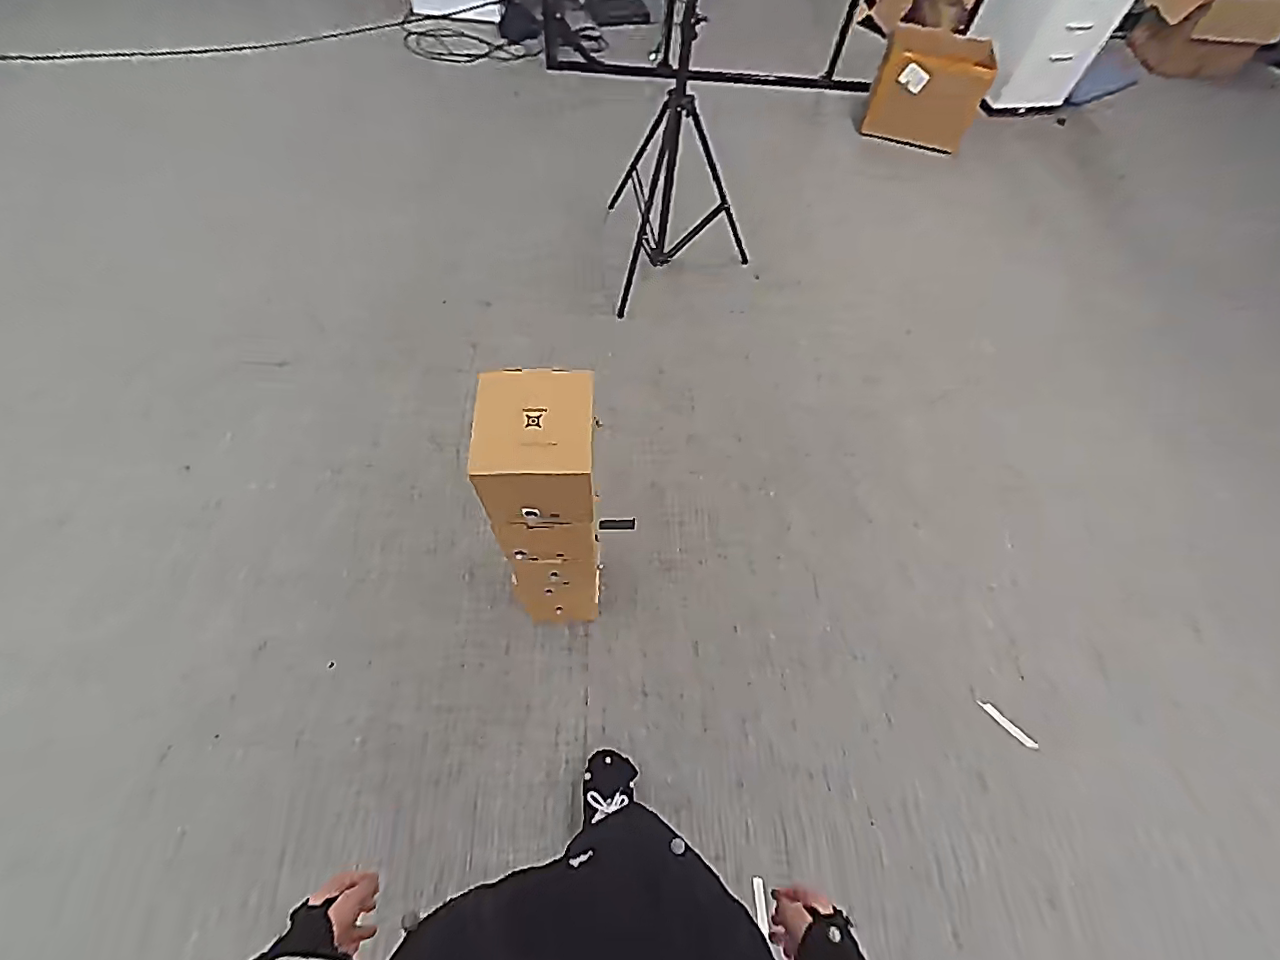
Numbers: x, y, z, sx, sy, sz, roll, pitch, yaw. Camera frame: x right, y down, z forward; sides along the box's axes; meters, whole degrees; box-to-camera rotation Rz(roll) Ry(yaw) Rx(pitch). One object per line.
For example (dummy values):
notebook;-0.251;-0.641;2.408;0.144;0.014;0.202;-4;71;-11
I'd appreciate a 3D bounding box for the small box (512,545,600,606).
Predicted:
small box;-0.186;0.190;1.246;0.179;0.176;0.168;3;63;-3

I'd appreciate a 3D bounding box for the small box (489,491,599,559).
small box;-0.159;0.033;0.960;0.168;0.176;0.179;1;61;-3

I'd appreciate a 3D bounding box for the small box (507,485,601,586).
small box;-0.167;0.112;1.104;0.168;0.176;0.179;2;63;-3

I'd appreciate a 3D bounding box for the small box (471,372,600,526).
small box;-0.146;-0.042;0.817;0.168;0.176;0.179;-1;63;-3

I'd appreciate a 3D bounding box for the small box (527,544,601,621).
small box;-0.190;0.263;1.393;0.179;0.176;0.168;1;63;-4
